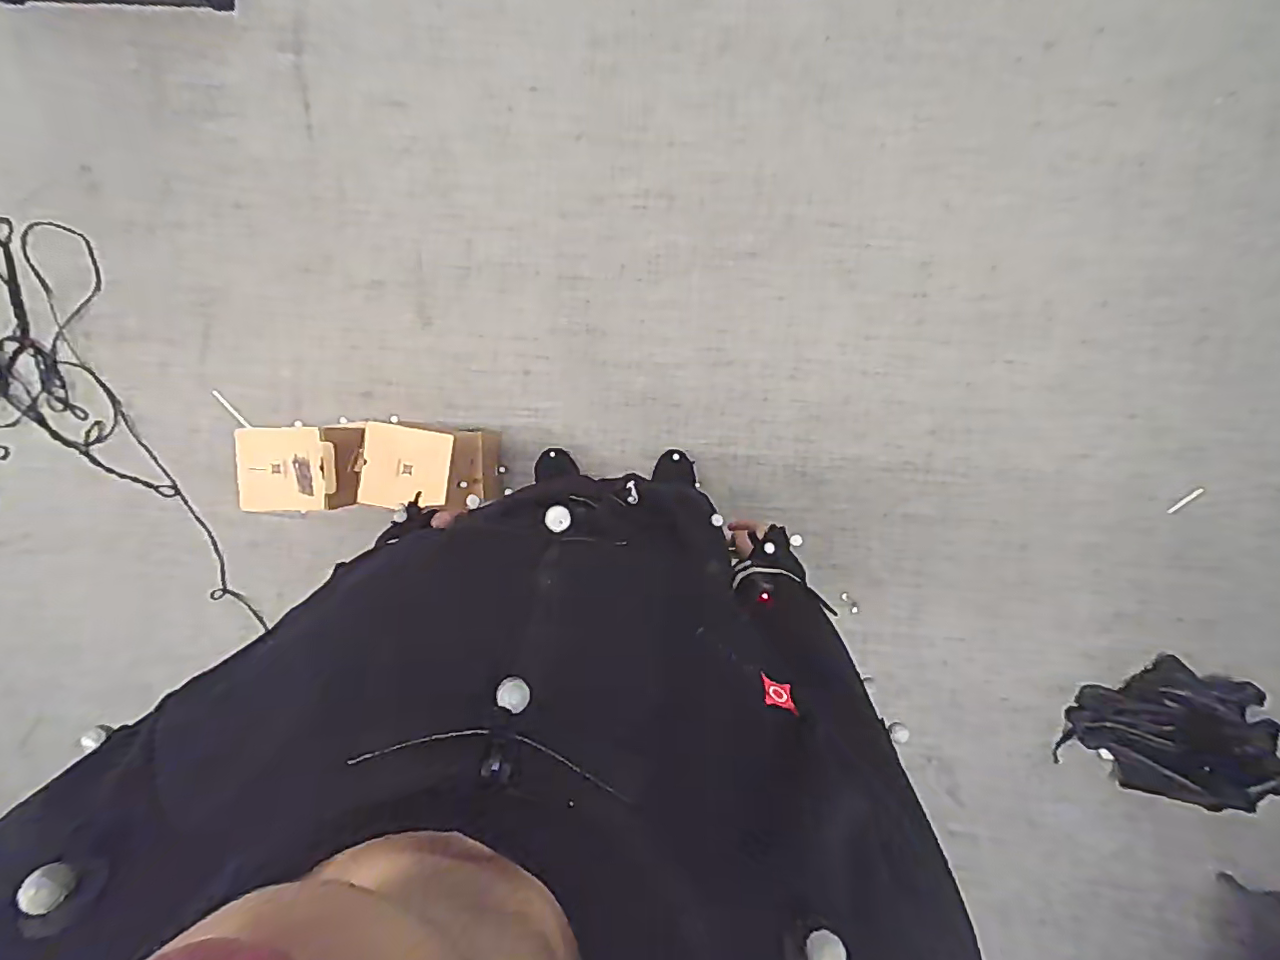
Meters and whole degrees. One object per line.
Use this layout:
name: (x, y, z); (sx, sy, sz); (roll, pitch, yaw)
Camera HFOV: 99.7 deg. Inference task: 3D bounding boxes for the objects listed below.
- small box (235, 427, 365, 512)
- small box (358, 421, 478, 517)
small box: (-0.691, -0.026, 1.125); (0.179, 0.176, 0.168); (-1, 94, 2)
small box: (-0.451, -0.029, 1.124); (0.179, 0.176, 0.168); (9, 95, 1)
